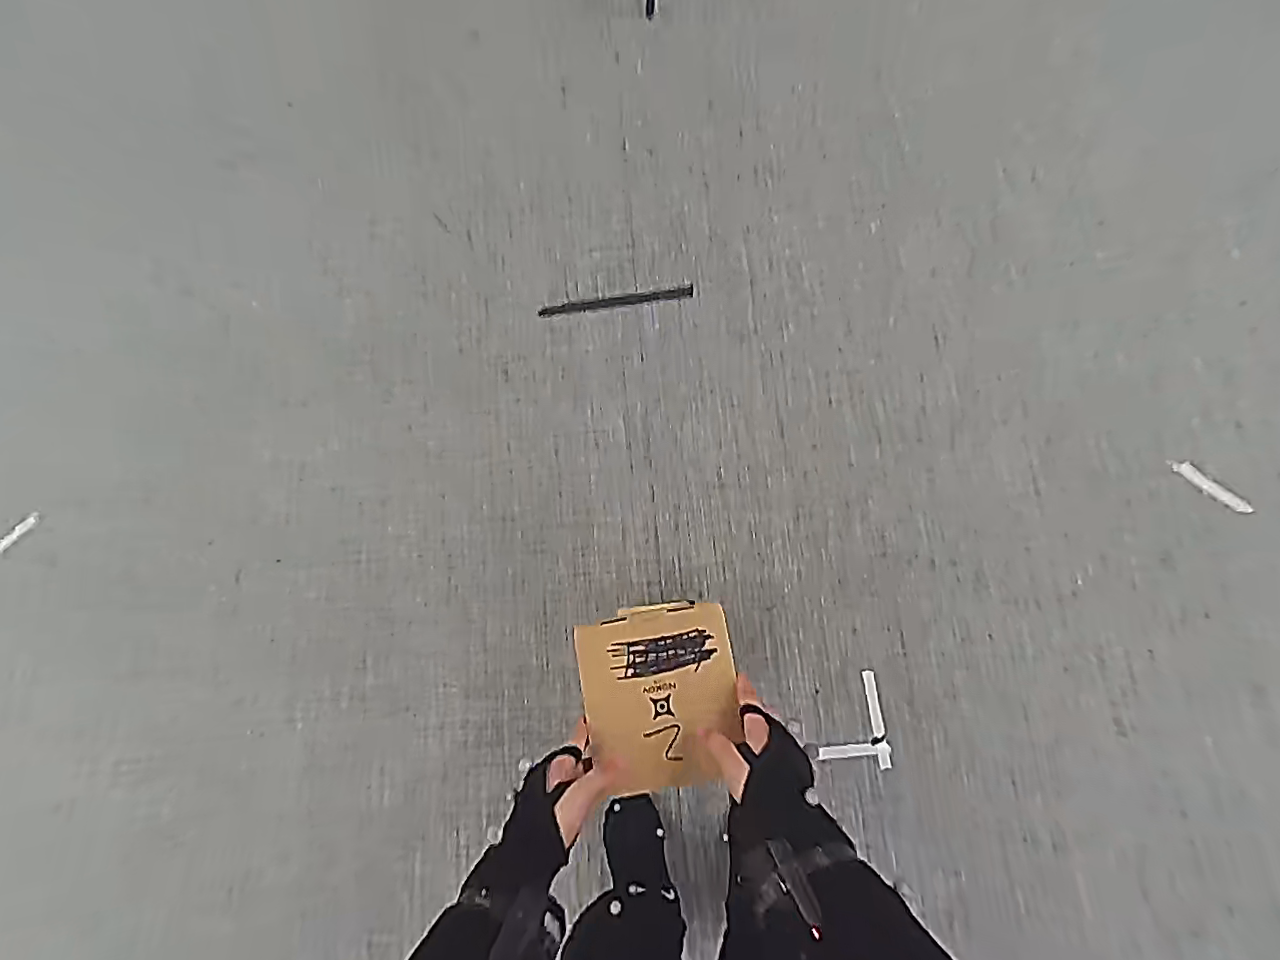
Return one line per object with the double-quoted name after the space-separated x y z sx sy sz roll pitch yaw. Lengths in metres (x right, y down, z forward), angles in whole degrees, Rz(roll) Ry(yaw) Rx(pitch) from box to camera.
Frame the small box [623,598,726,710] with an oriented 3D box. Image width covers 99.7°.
0.064 0.317 1.013 0.168 0.176 0.179 -7 78 4 "small box"
